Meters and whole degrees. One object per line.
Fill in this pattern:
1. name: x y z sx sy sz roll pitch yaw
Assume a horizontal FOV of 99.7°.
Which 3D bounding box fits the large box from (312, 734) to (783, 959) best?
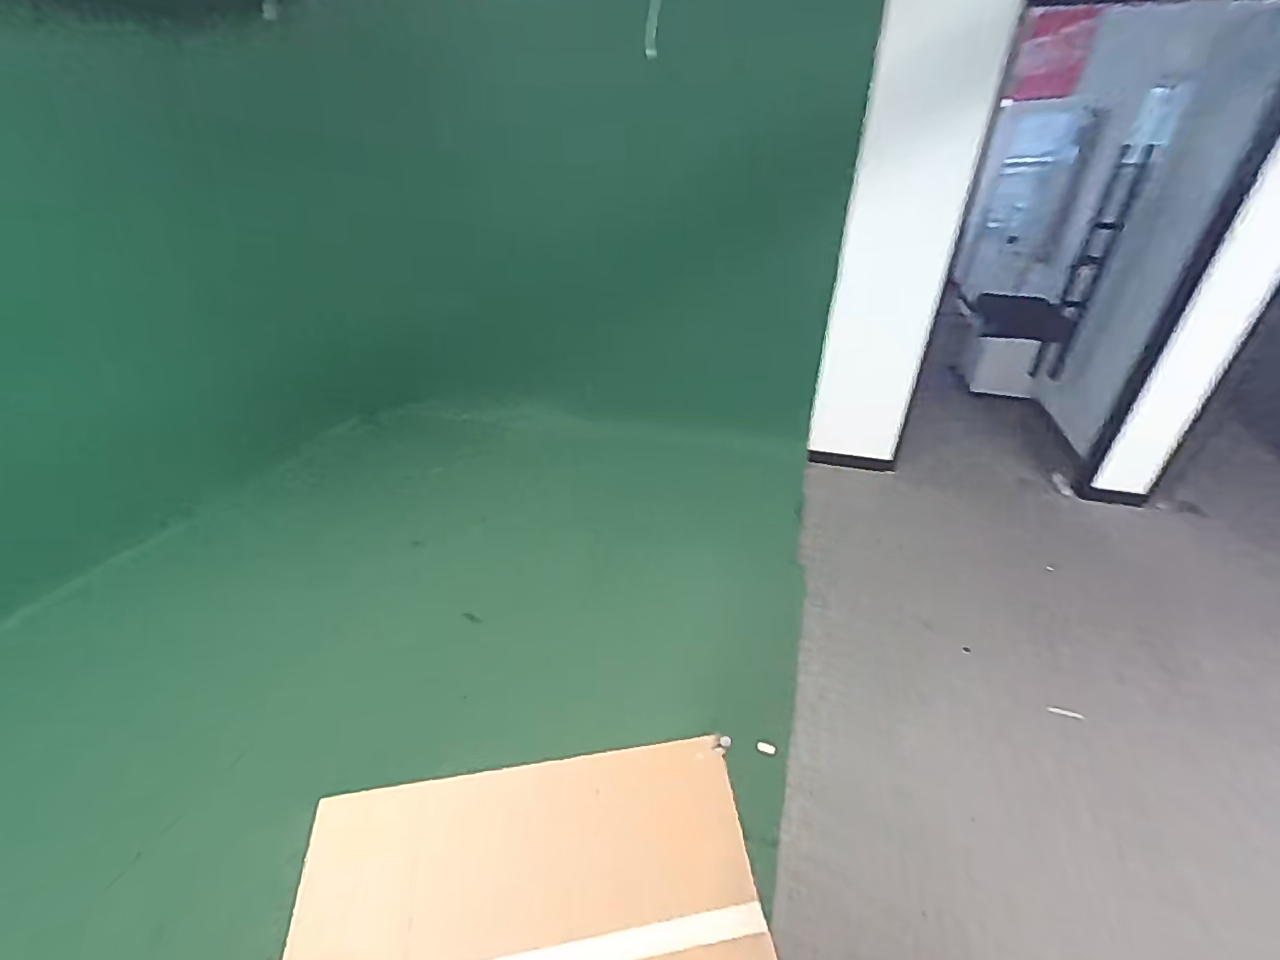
1. large box: -0.085 0.509 0.570 0.408 0.320 0.320 -4 48 -8
